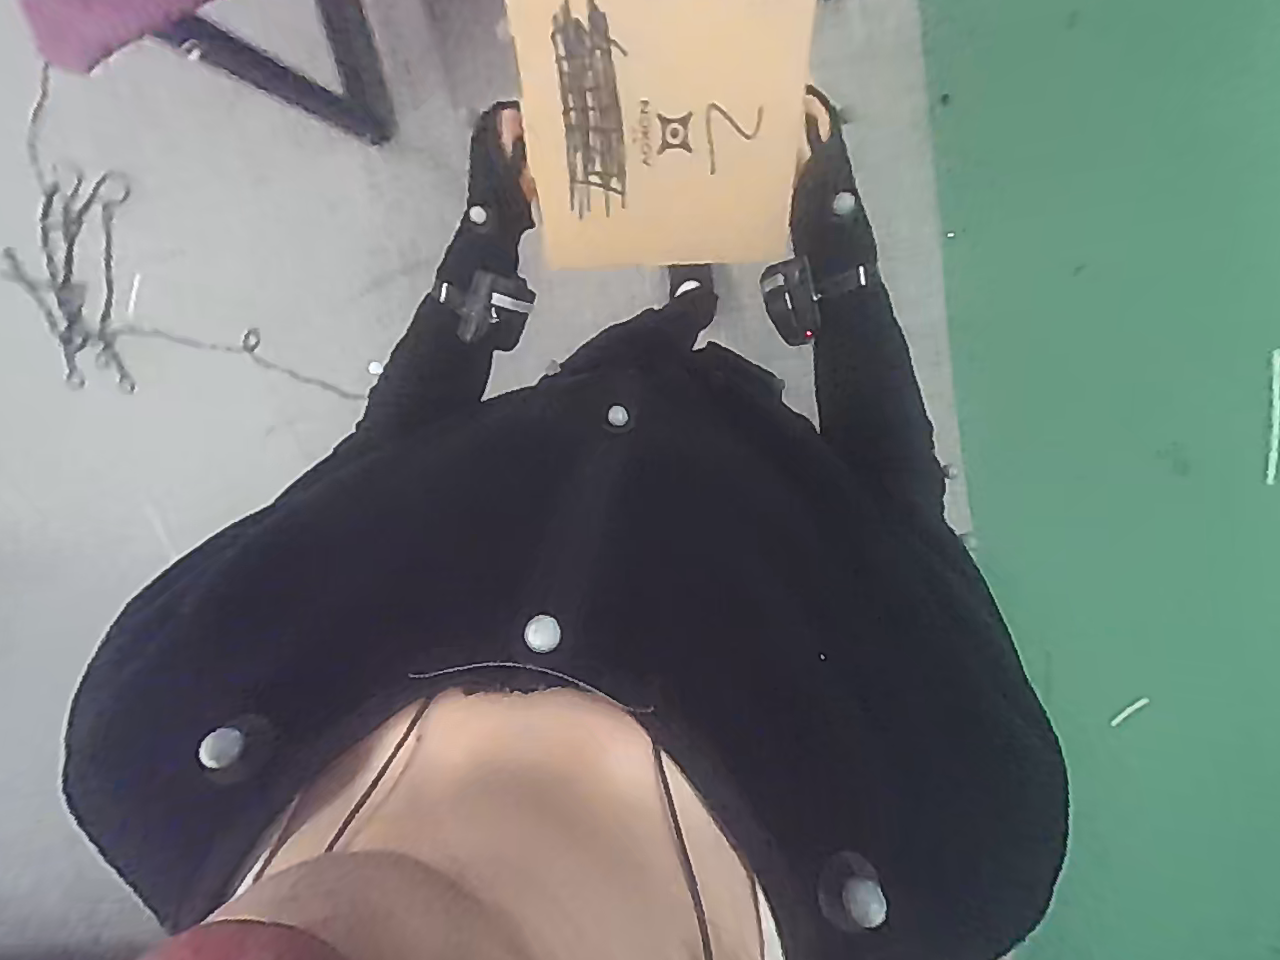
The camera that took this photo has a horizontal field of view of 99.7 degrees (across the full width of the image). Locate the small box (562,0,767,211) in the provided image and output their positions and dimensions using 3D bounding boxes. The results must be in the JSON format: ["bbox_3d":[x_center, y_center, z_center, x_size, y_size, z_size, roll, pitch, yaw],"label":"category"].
[{"bbox_3d":[0.018,-0.382,0.529,0.168,0.176,0.179,2,129,-1],"label":"small box"}]

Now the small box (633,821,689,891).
[{"bbox_3d":[0.070,1.273,1.776,0.168,0.176,0.179,7,107,7],"label":"small box"}]
